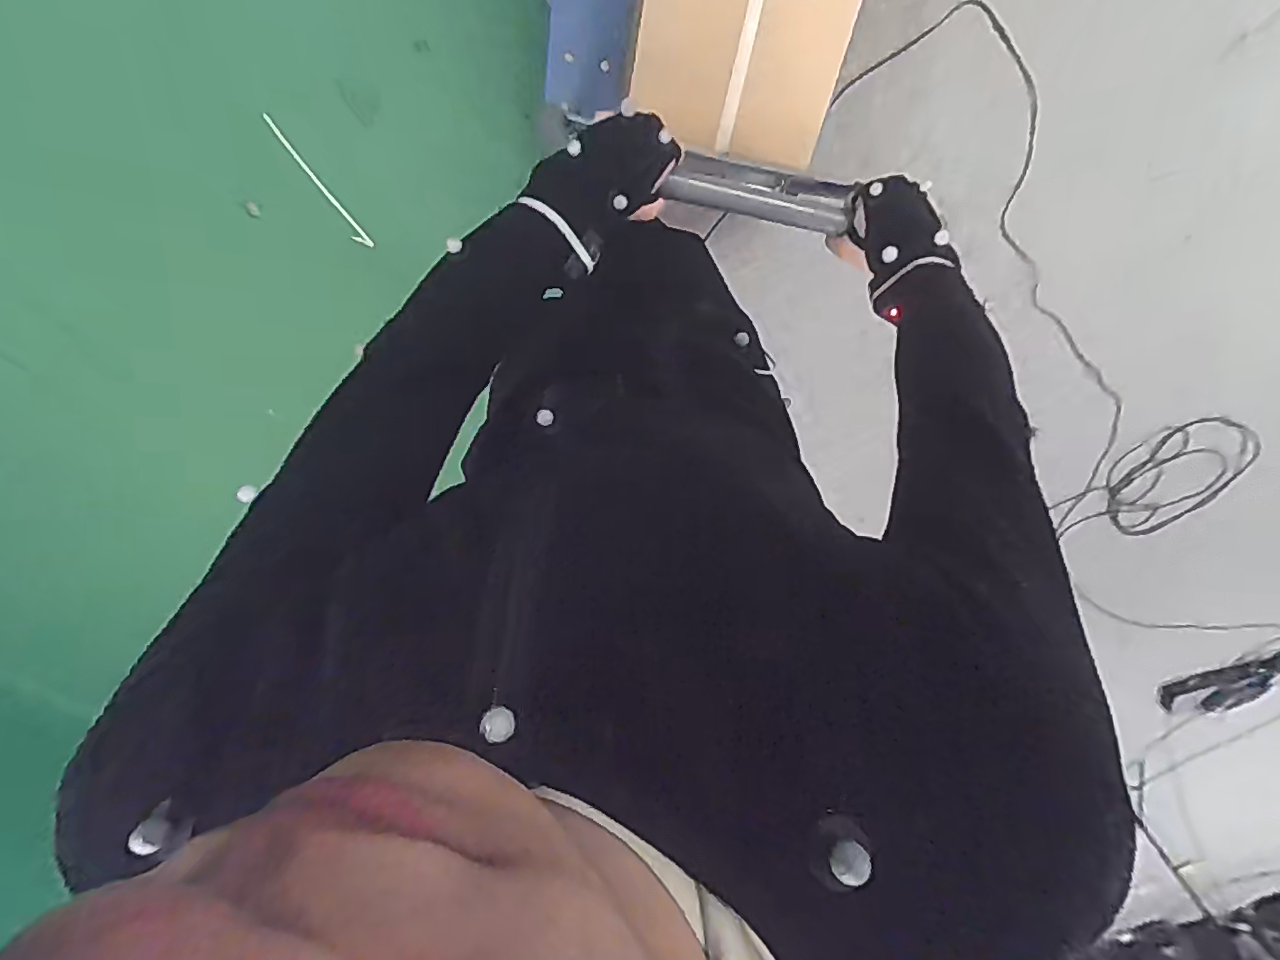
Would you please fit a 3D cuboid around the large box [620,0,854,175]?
[{"bbox_3d":[0.147,-0.775,0.904,0.320,0.320,0.408,7,124,-10],"label":"large box"}]
